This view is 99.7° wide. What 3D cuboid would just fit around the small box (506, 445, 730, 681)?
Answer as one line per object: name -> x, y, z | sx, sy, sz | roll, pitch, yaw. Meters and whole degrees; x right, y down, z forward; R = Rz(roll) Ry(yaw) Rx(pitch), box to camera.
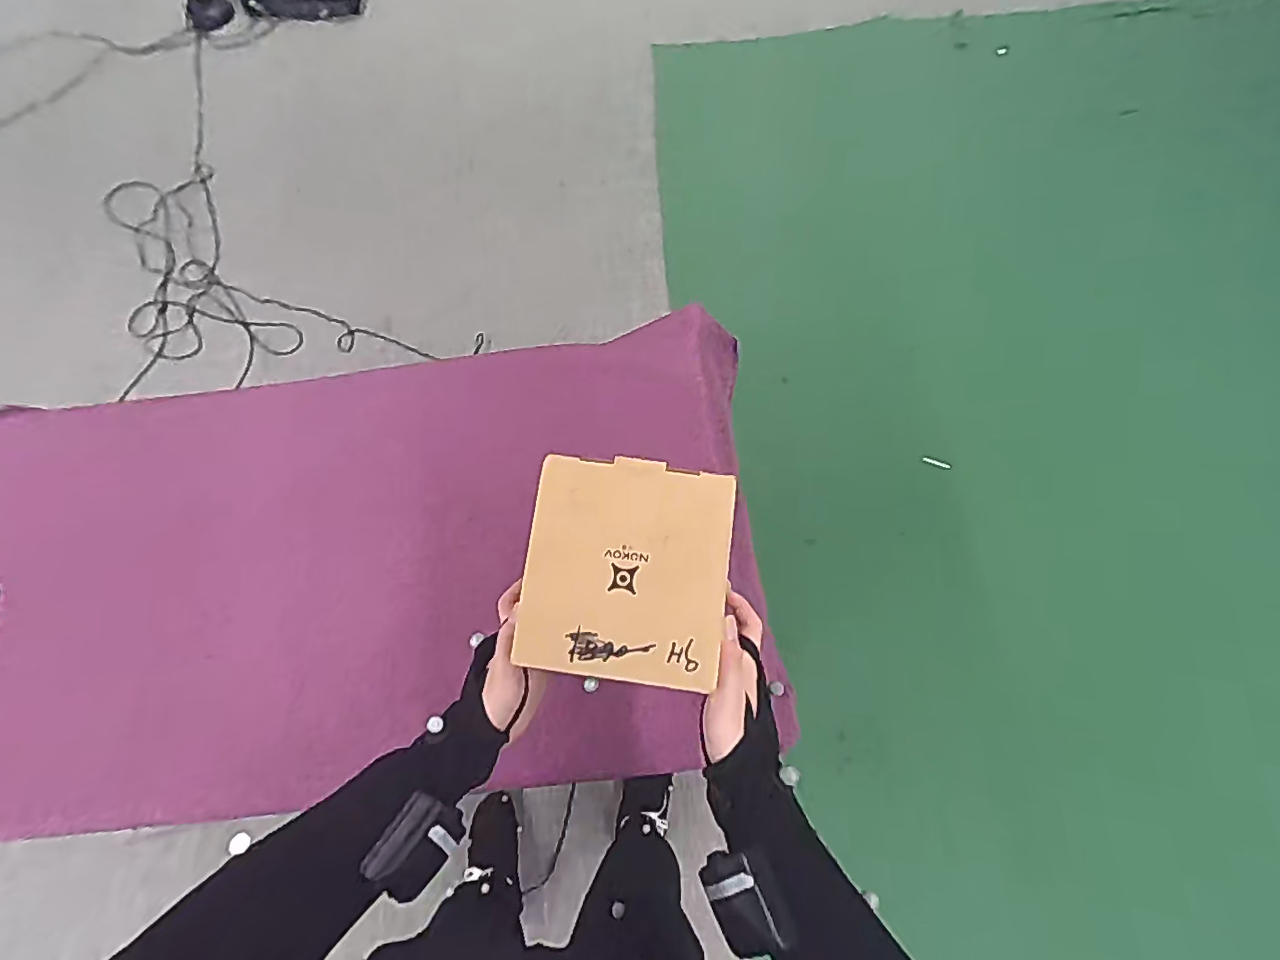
small box -> -0.011, 0.080, 0.520 | 0.168, 0.176, 0.179 | 6, 78, 5
